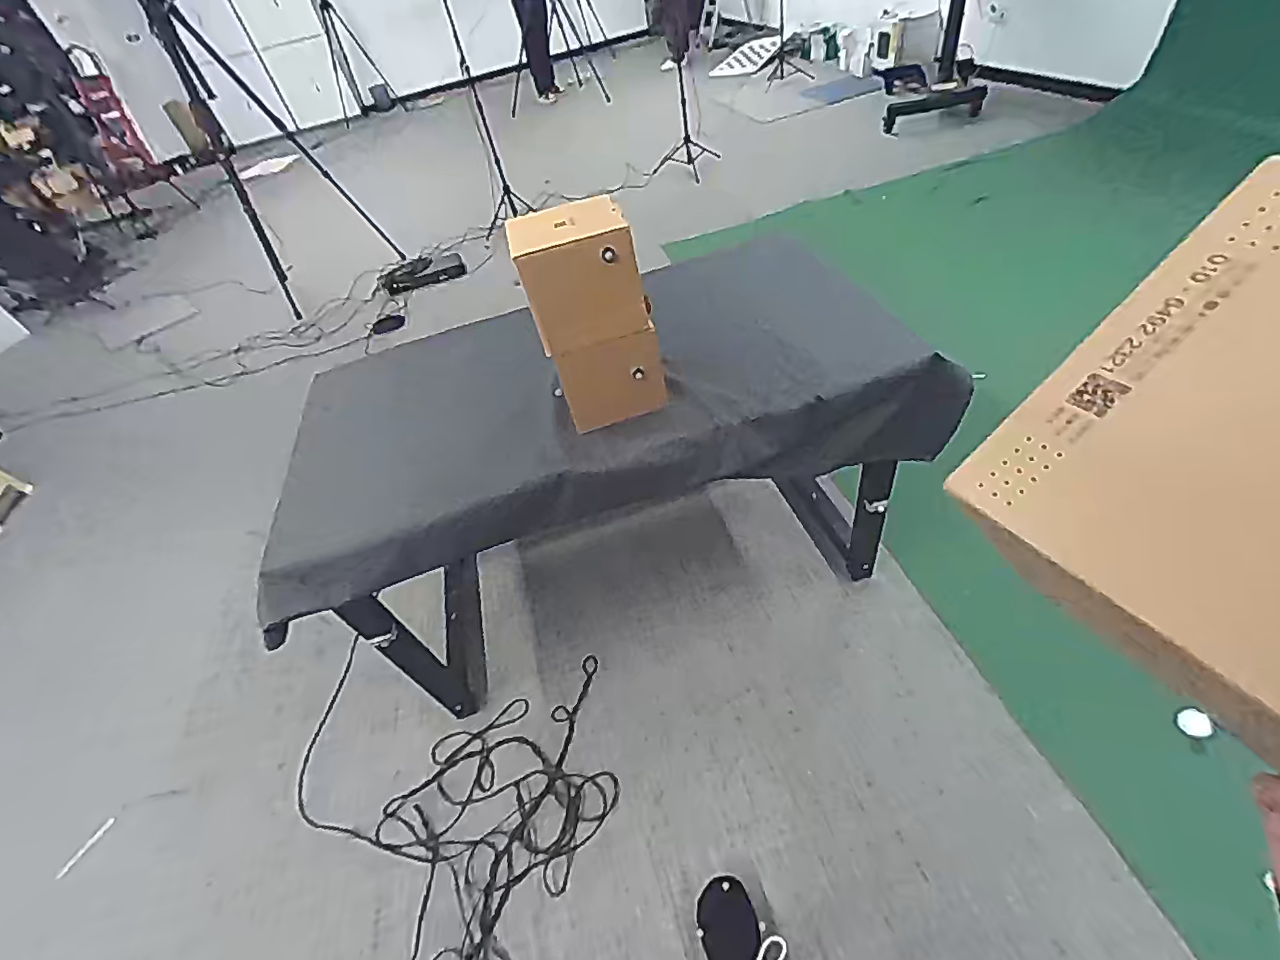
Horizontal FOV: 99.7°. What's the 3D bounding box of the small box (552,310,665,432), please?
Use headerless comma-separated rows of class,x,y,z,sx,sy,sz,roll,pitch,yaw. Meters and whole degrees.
small box,-0.061,-0.215,0.983,0.179,0.176,0.168,-19,44,-3

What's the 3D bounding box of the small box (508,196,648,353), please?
small box,-0.099,-0.327,0.871,0.179,0.176,0.168,-16,44,-3
